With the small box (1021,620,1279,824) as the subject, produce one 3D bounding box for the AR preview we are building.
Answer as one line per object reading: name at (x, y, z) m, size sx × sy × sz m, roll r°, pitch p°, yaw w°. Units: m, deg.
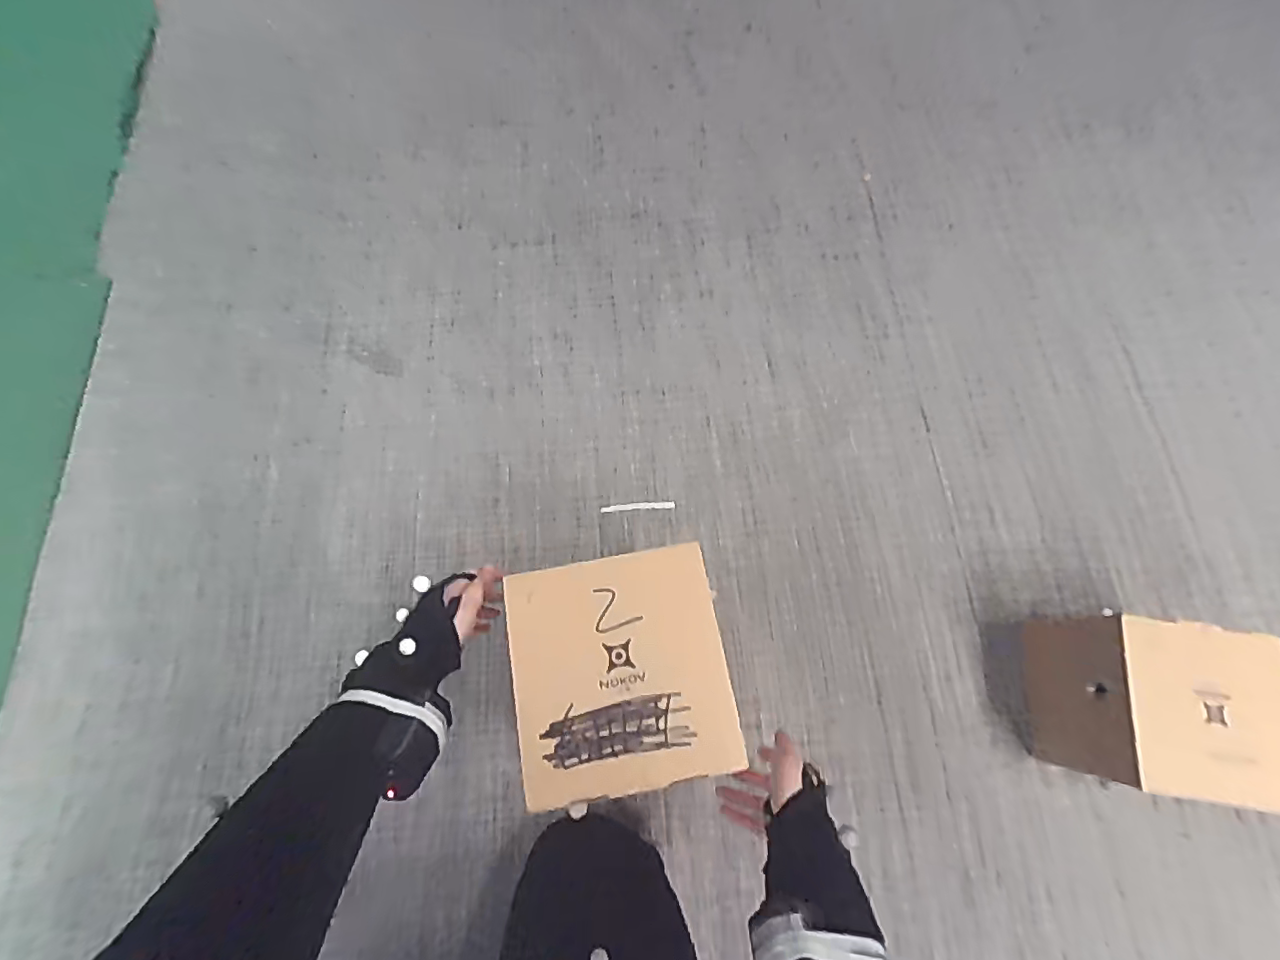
small box at (0.580, 0.272, 0.631) m, size 0.168 × 0.176 × 0.179 m, roll 8°, pitch 71°, yaw 4°
